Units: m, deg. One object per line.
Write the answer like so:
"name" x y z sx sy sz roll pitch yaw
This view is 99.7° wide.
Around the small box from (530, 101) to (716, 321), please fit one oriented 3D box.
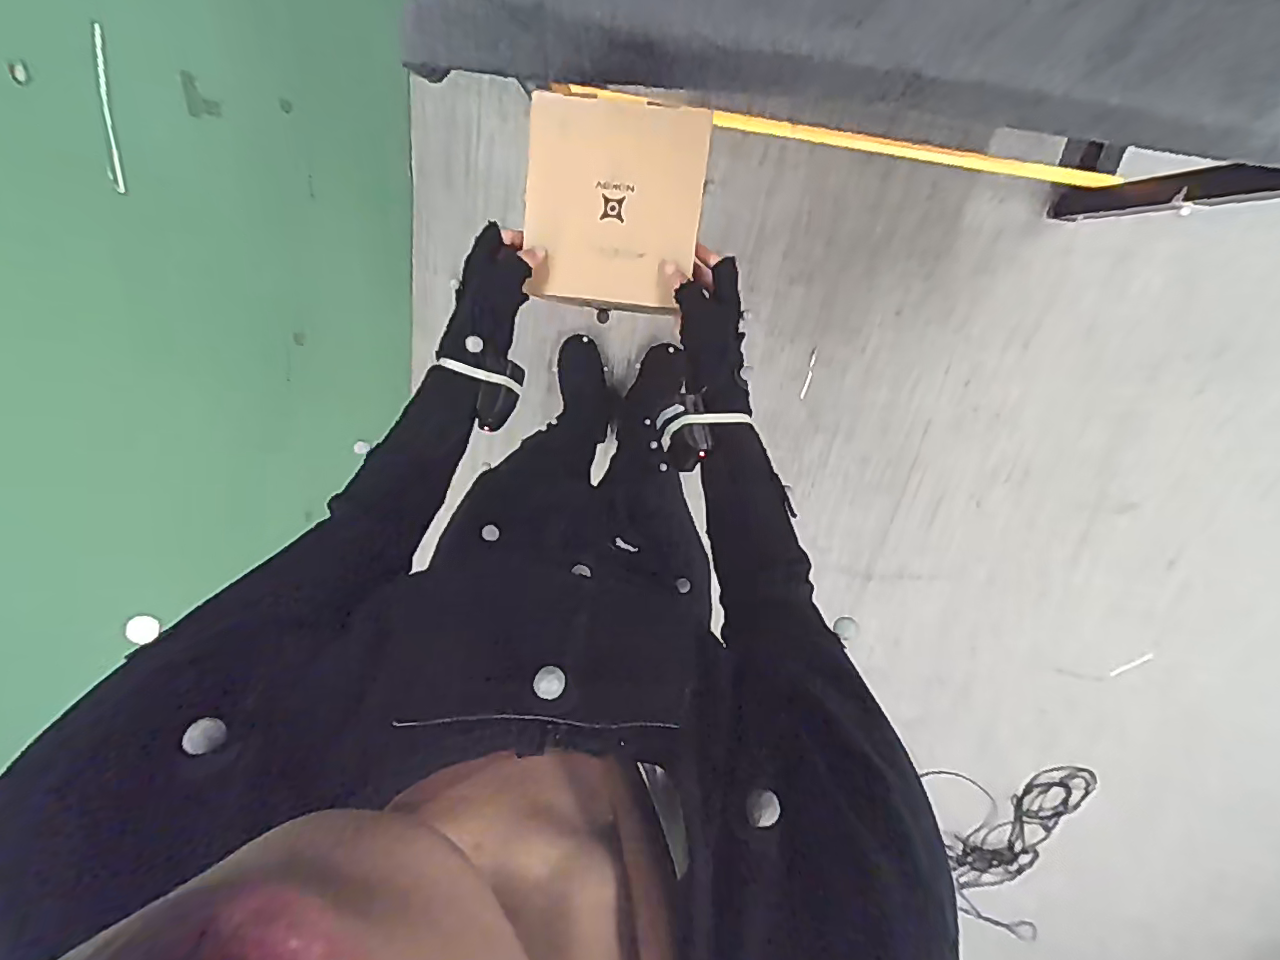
"small box" -0.017 -0.276 0.595 0.168 0.176 0.179 6 105 1
